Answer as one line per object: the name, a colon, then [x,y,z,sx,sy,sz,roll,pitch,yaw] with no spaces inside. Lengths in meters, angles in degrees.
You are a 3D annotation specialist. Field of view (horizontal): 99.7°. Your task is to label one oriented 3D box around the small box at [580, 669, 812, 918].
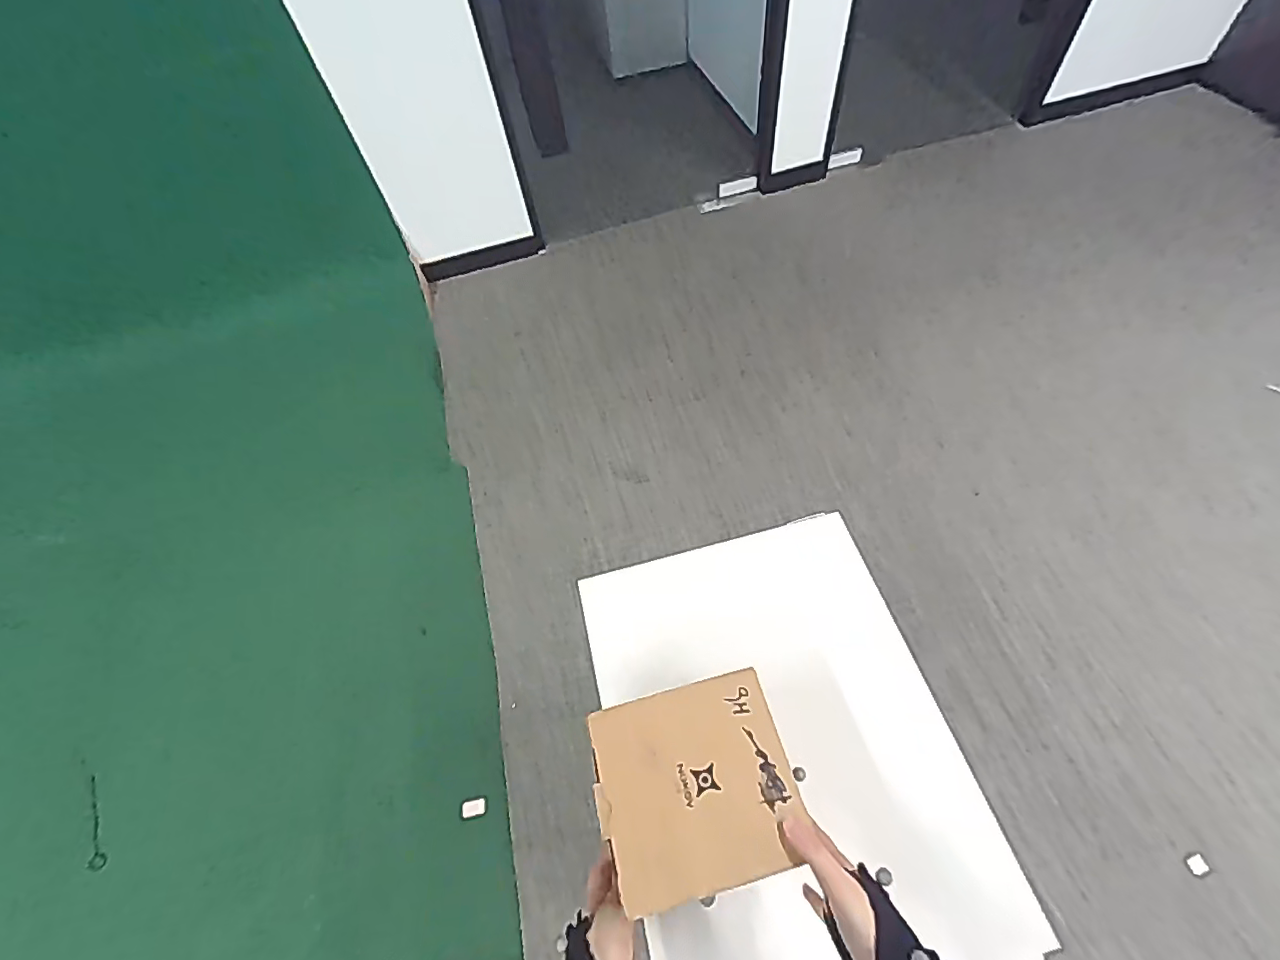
small box: [0.051,0.316,0.554,0.179,0.176,0.168,-15,58,-4]
